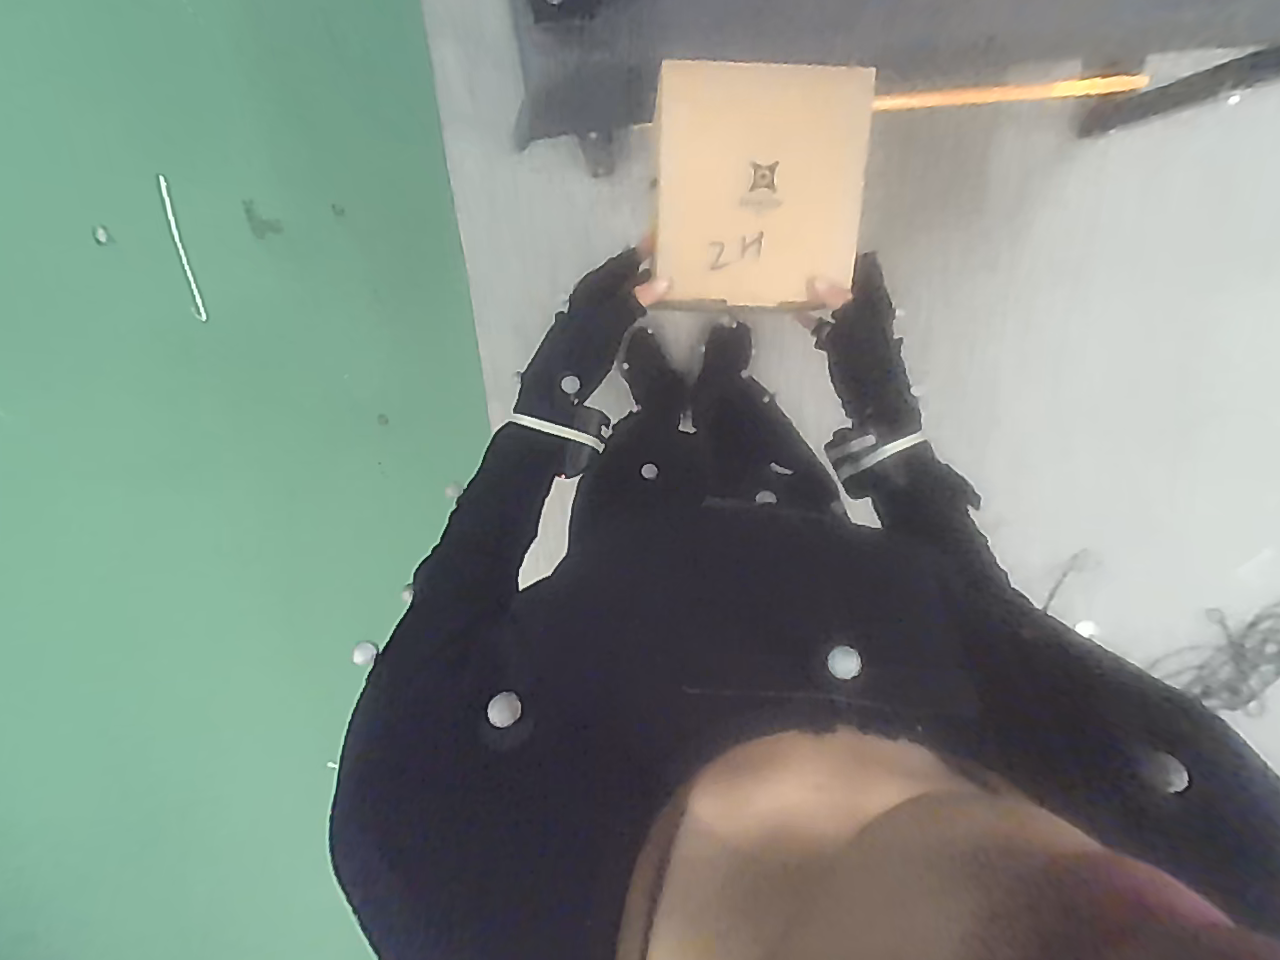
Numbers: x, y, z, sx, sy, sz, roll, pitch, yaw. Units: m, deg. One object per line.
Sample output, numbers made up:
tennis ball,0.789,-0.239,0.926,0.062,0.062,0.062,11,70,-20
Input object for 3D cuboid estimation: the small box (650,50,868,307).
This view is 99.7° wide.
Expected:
small box,0.096,-0.268,0.521,0.168,0.176,0.179,1,104,-1
